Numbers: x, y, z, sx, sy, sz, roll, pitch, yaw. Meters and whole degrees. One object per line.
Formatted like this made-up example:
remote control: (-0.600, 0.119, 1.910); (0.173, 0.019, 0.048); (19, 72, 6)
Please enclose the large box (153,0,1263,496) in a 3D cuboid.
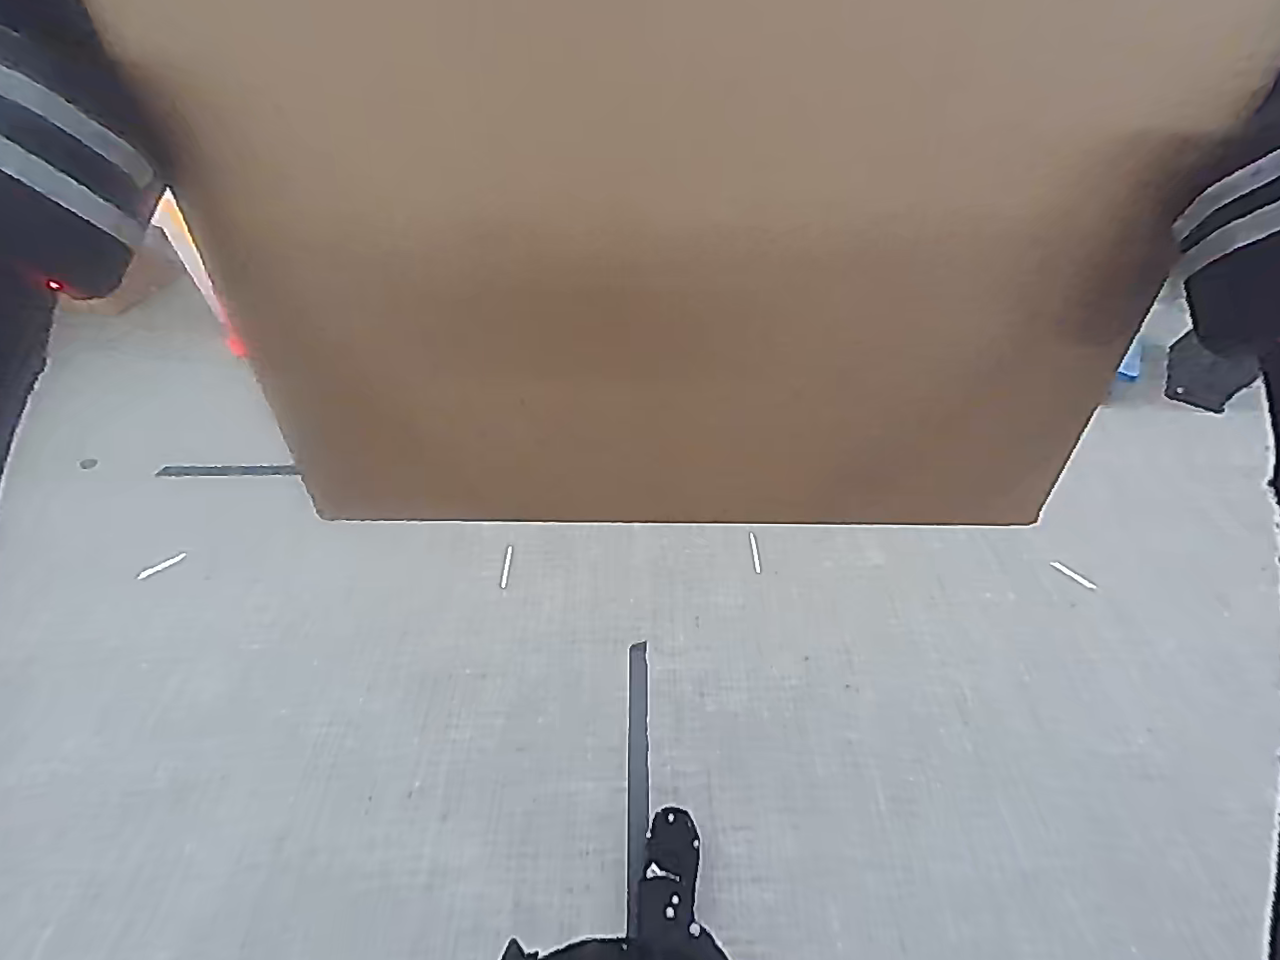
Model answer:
large box: (0.022, -0.198, 0.348); (0.408, 0.320, 0.320); (1, 36, 0)
